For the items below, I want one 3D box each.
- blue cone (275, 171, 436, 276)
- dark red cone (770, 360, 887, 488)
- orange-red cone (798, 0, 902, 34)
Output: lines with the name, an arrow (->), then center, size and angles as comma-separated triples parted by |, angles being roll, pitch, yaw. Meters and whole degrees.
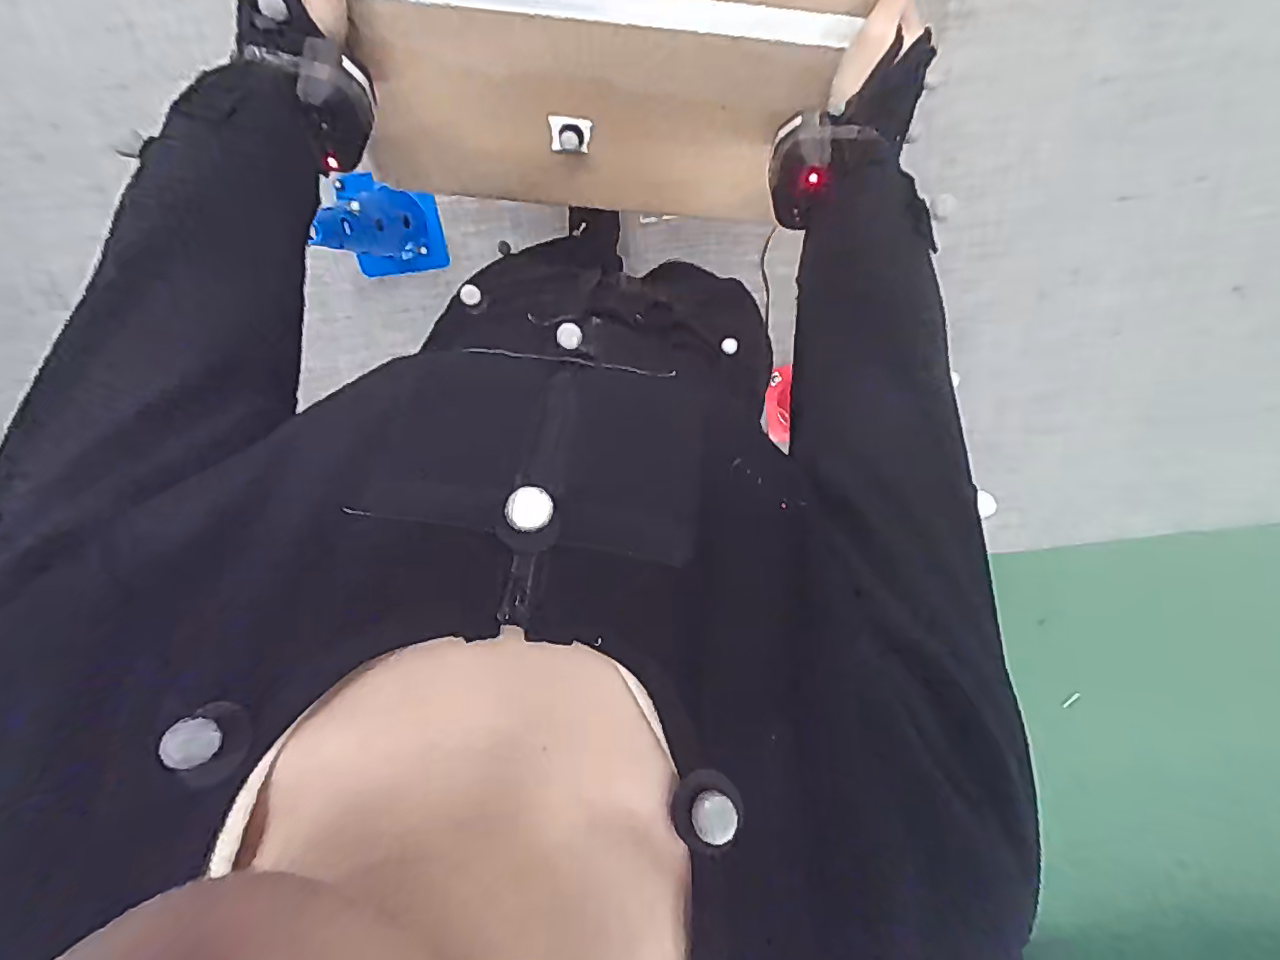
blue cone -> -0.533, -0.466, 0.992 | 0.192, 0.380, 0.193 | -5, 116, 2
dark red cone -> 0.423, -0.097, 1.161 | 0.202, 0.394, 0.201 | -12, 119, 5
orange-red cone -> 0.401, -0.852, 0.803 | 0.199, 0.360, 0.198 | 12, 117, -9
